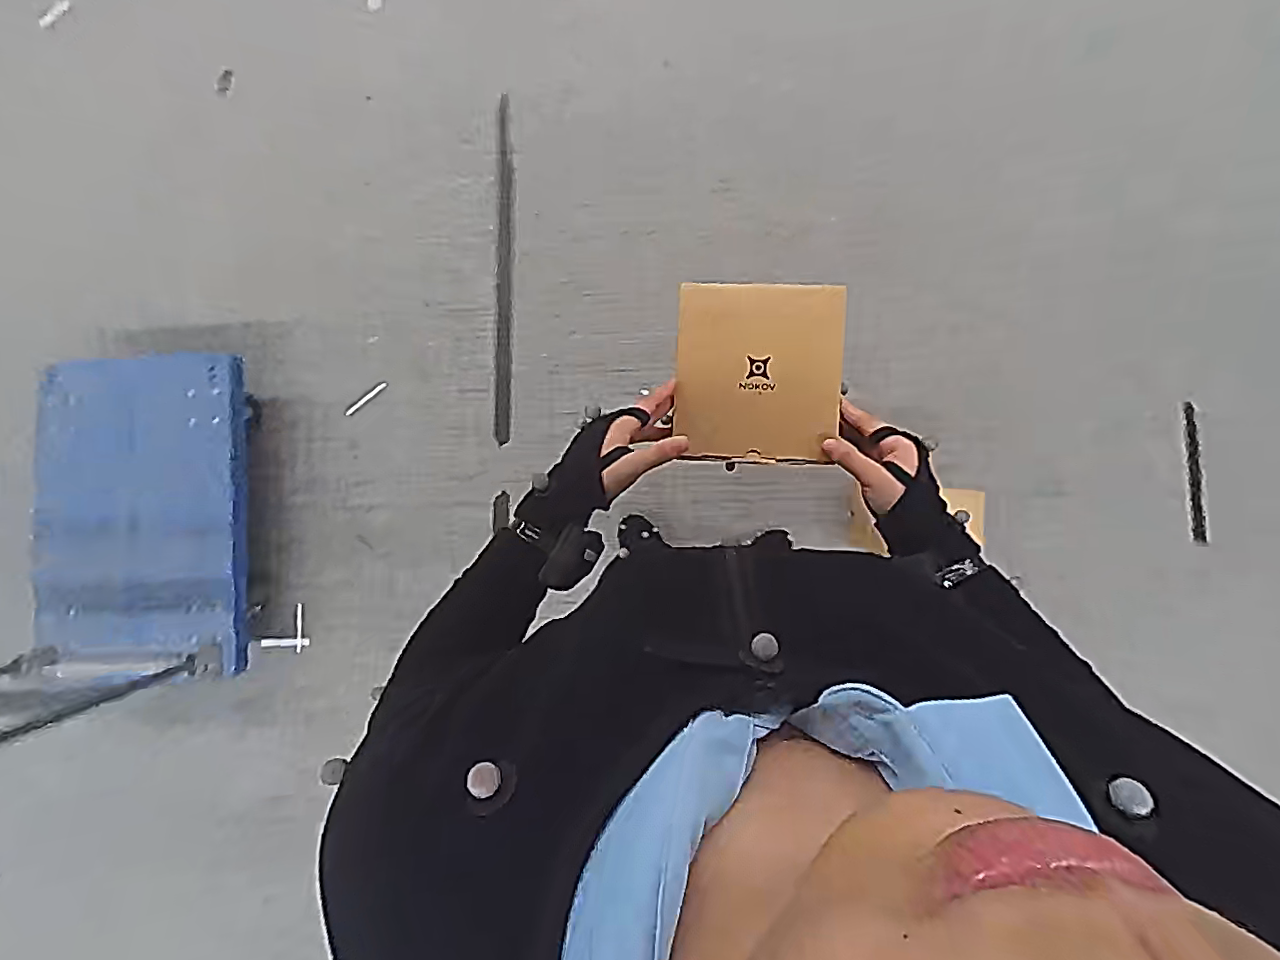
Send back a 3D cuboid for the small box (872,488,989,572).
[{"bbox_3d":[0.641,0.107,1.208,0.179,0.176,0.168,4,87,6],"label":"small box"}]
